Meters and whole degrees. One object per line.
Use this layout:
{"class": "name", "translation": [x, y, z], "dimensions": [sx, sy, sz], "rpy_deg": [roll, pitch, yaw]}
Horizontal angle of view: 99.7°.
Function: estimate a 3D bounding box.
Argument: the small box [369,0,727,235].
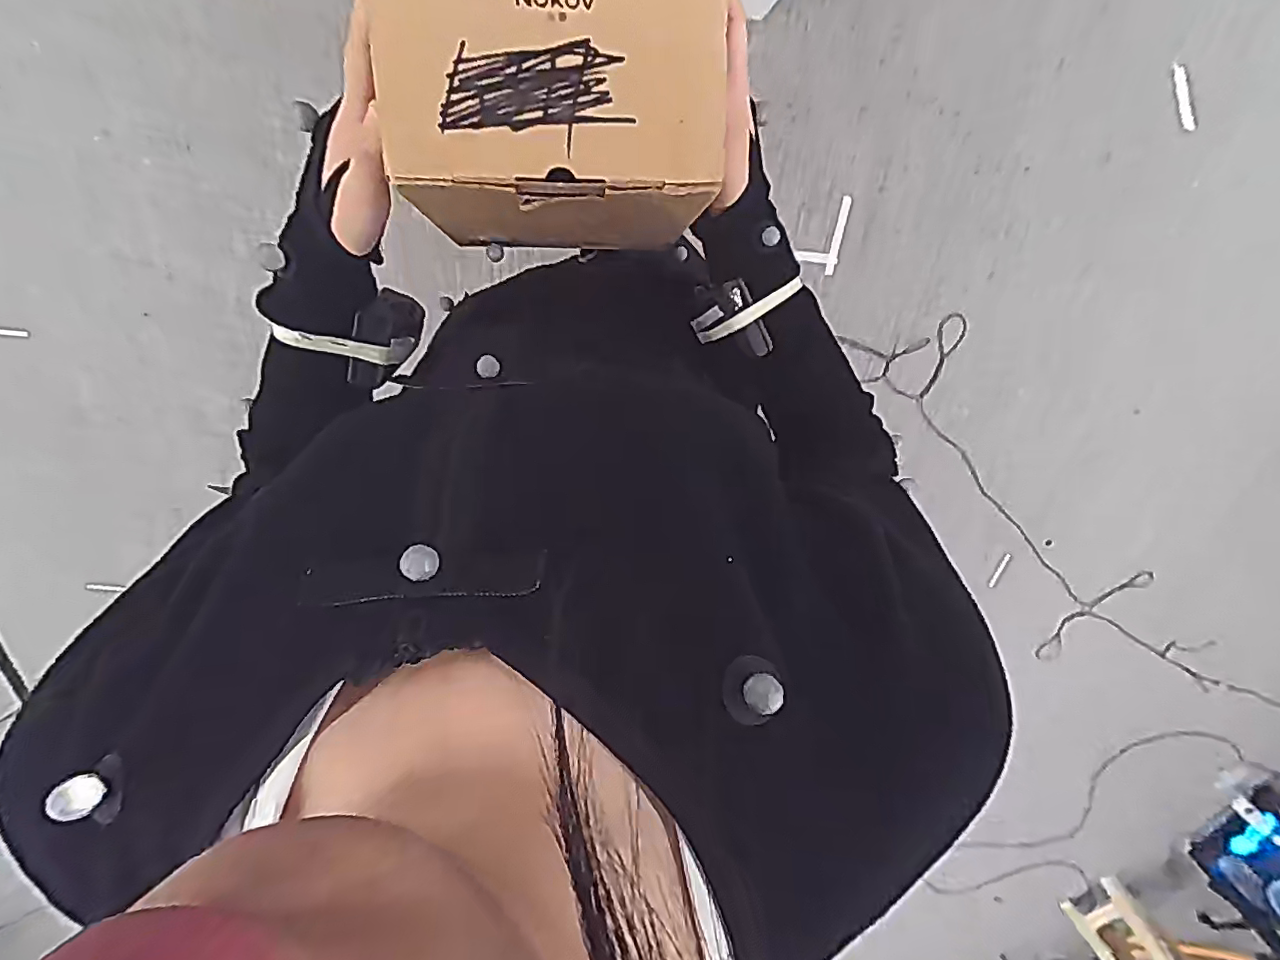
{"class": "small box", "translation": [-0.048, -0.253, 0.321], "dimensions": [0.168, 0.176, 0.179], "rpy_deg": [-2, 103, -7]}
